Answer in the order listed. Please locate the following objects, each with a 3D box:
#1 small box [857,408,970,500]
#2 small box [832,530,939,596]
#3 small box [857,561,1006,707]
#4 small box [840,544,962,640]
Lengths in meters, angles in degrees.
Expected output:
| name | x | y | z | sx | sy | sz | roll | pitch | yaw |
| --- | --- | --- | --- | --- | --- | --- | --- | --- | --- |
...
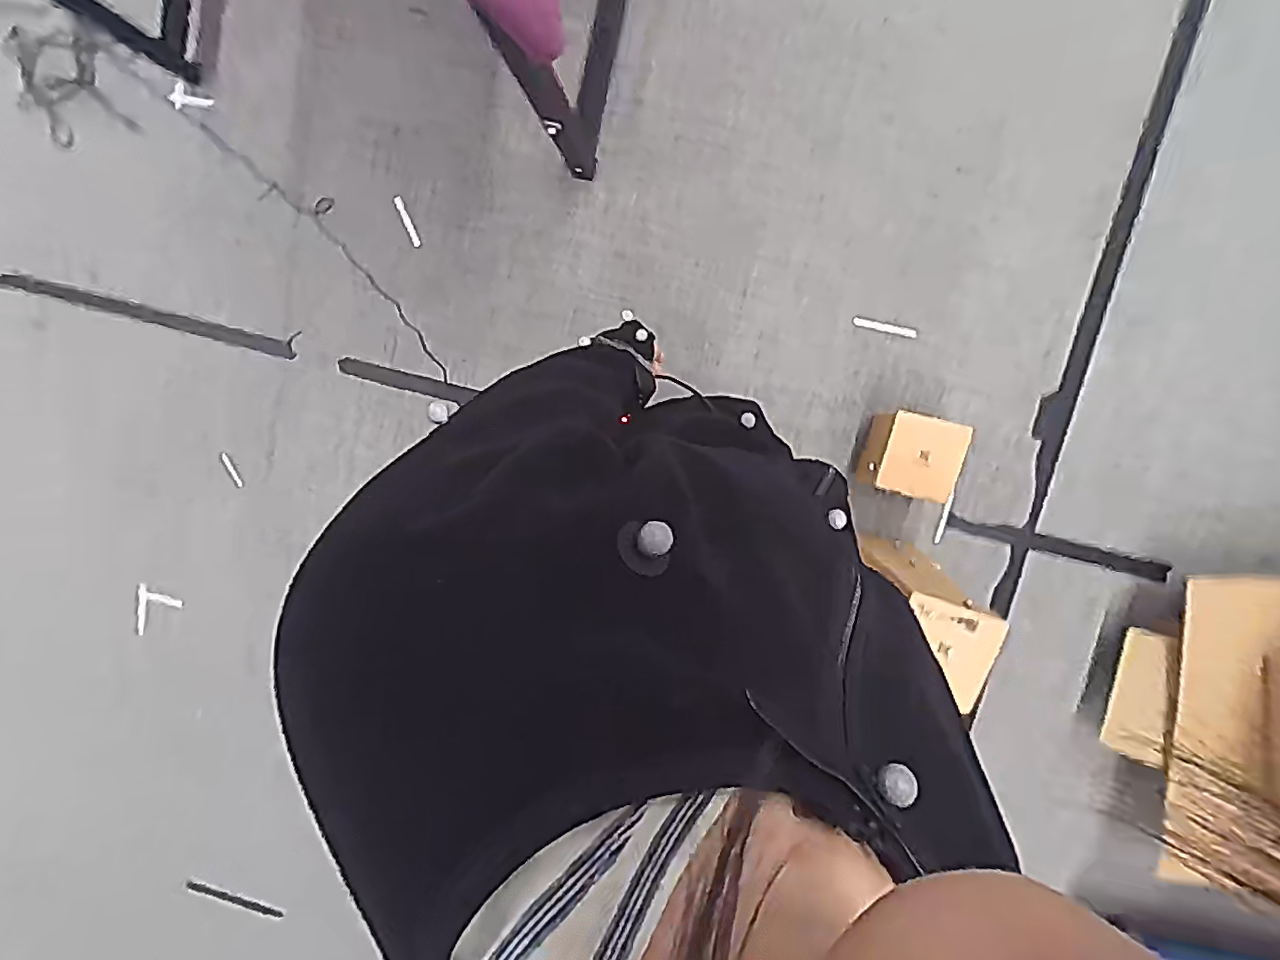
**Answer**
| name | x | y | z | sx | sy | sz | roll | pitch | yaw |
| --- | --- | --- | --- | --- | --- | --- | --- | --- | --- |
| small box | 0.632 | -0.068 | 1.273 | 0.168 | 0.176 | 0.179 | 14 | 100 | 5 |
| small box | 0.587 | 0.229 | 1.320 | 0.179 | 0.176 | 0.168 | 13 | 100 | 5 |
| small box | 0.522 | 0.275 | 1.001 | 0.168 | 0.176 | 0.179 | 19 | 101 | 5 |
| small box | 0.547 | 0.253 | 1.161 | 0.168 | 0.176 | 0.179 | 16 | 101 | 6 |
